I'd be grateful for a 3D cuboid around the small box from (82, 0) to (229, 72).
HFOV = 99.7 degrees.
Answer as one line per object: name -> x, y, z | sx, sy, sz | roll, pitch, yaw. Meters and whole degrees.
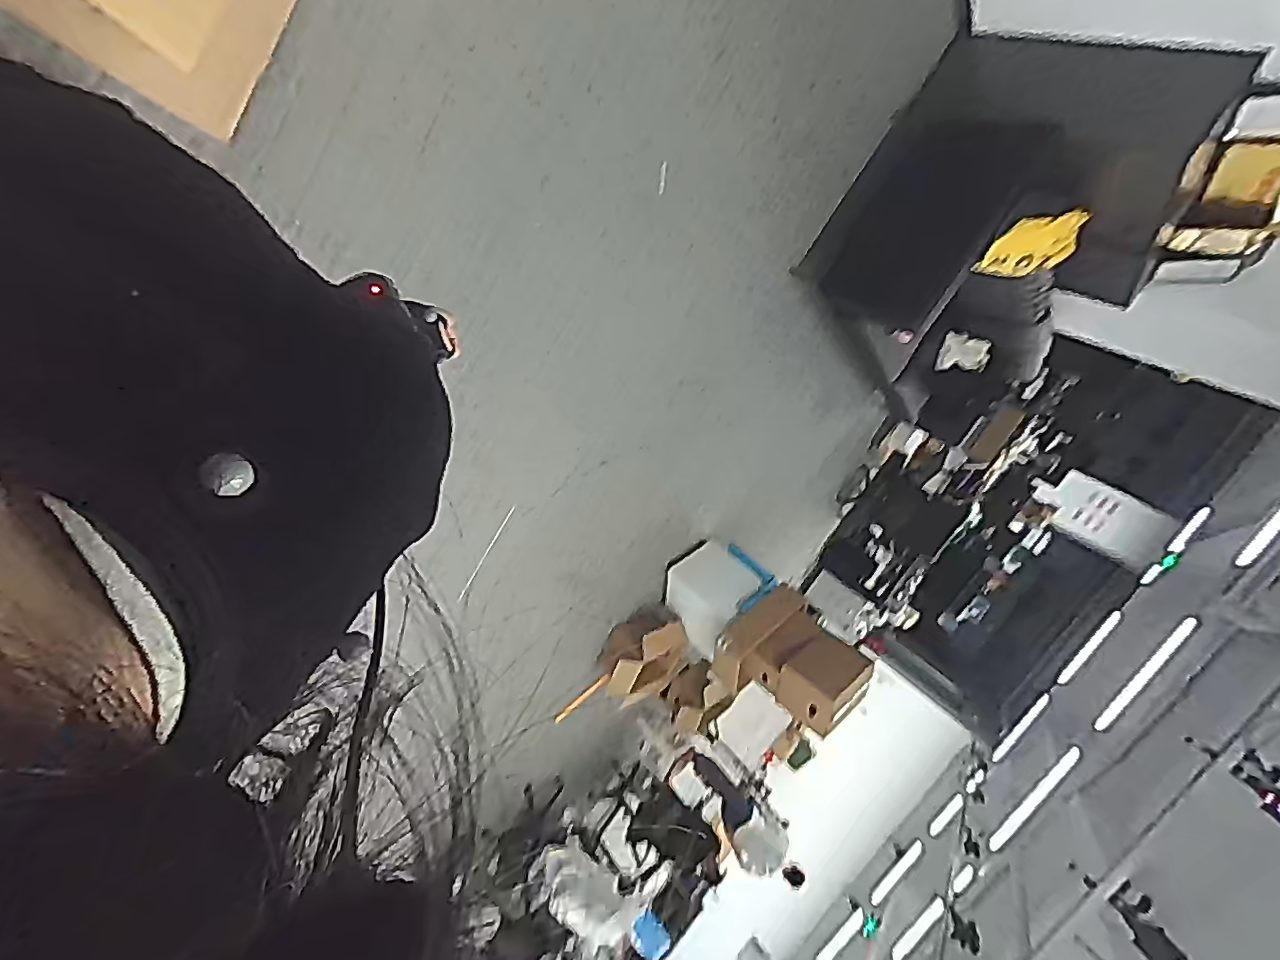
small box -> -0.783, -0.793, 0.848 | 0.179, 0.176, 0.168 | -55, 148, 5
